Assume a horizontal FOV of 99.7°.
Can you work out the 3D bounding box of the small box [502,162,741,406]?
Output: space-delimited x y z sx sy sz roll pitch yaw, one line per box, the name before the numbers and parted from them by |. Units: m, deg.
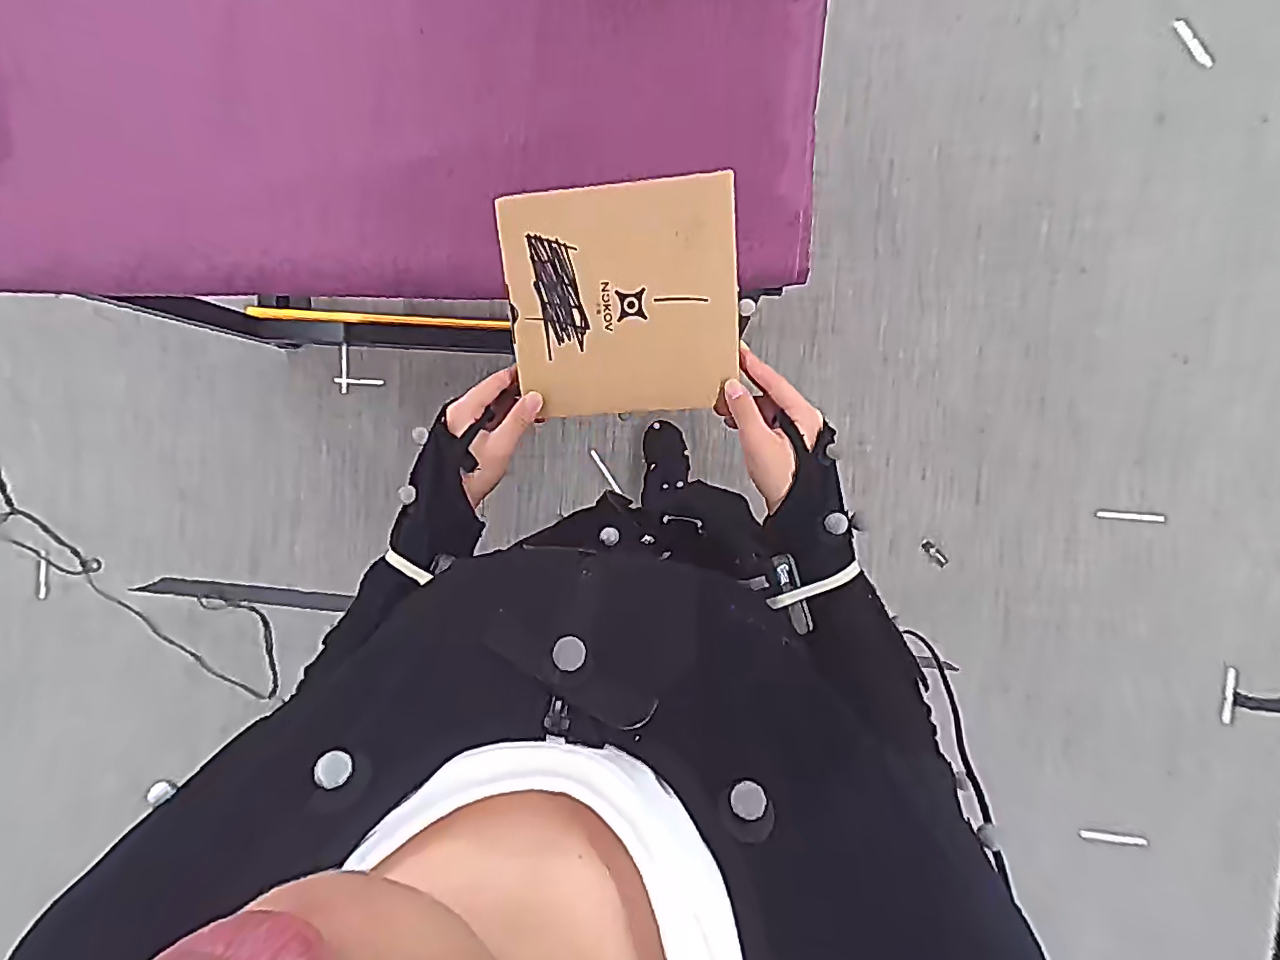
small box | 0.000 -0.159 0.482 0.179 0.176 0.168 -2 105 9
